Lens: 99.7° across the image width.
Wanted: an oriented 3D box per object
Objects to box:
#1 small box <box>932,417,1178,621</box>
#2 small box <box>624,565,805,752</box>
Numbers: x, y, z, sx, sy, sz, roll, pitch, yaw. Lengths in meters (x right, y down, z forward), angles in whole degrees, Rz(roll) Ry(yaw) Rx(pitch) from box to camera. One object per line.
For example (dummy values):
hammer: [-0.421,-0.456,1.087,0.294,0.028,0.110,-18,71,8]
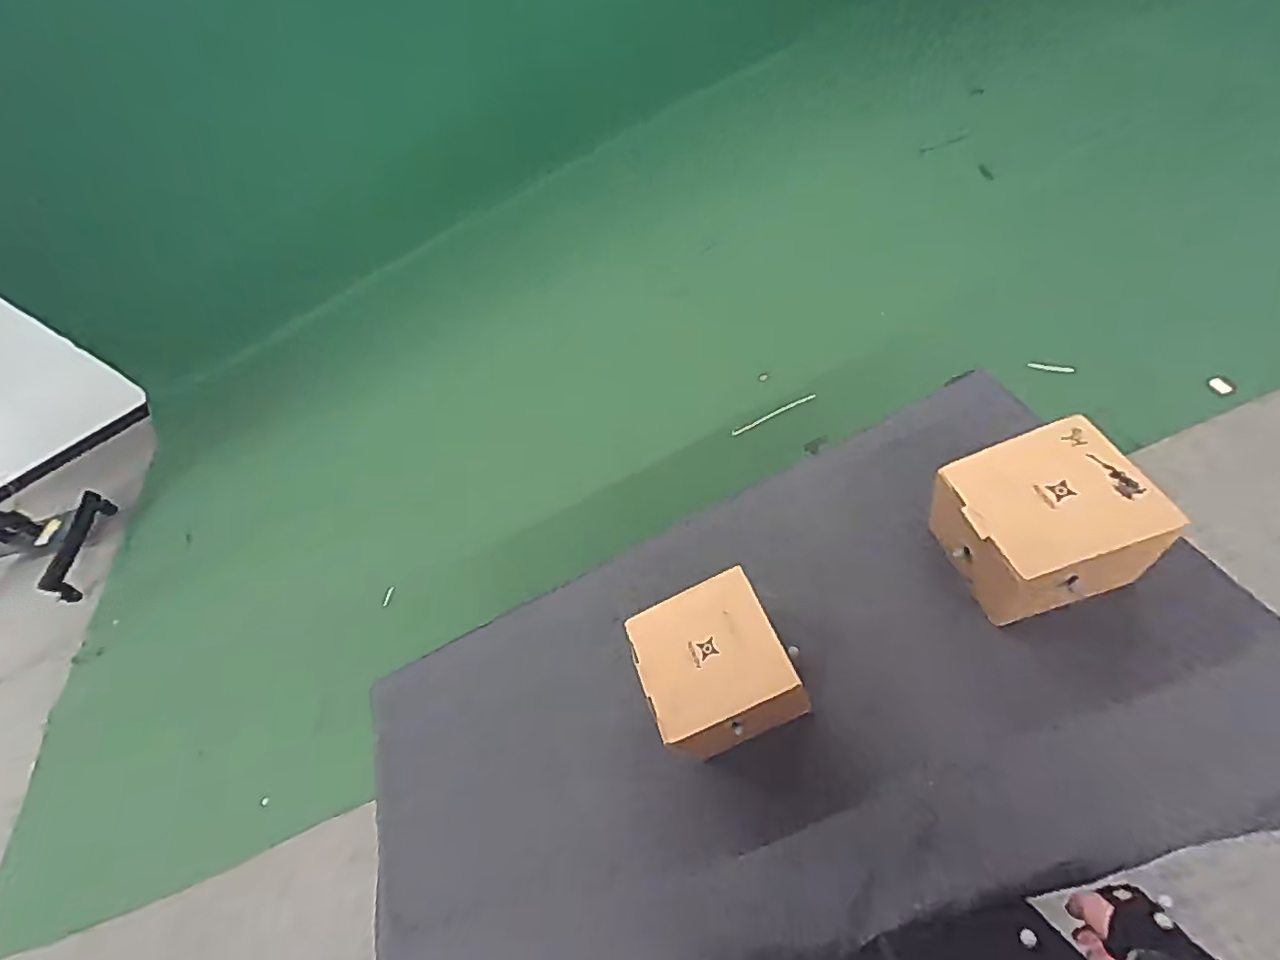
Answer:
small box: [0.495,0.058,0.684,0.179,0.176,0.168,-22,54,9]
small box: [0.105,0.249,0.733,0.179,0.176,0.168,-27,54,4]
